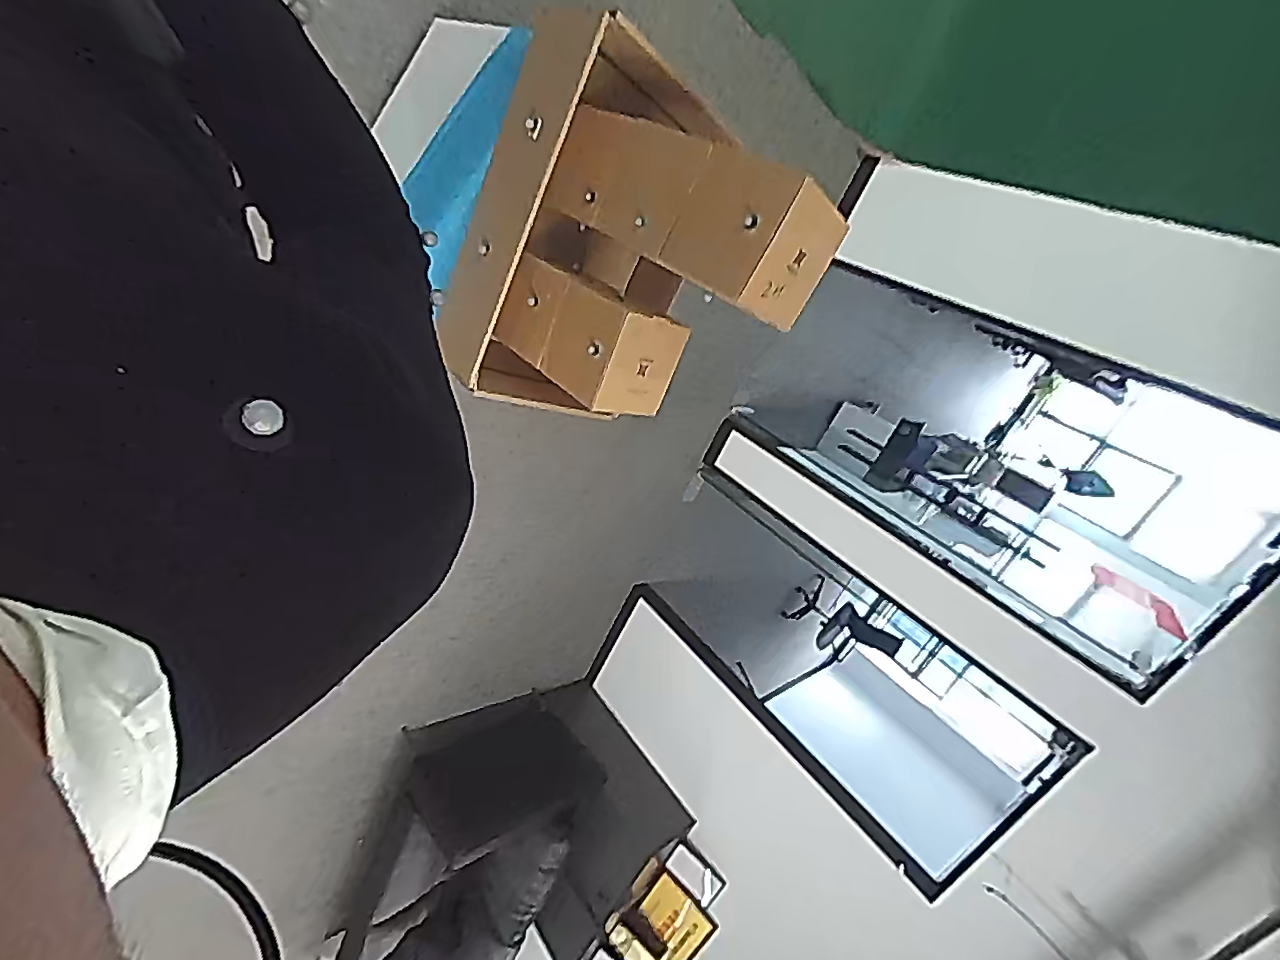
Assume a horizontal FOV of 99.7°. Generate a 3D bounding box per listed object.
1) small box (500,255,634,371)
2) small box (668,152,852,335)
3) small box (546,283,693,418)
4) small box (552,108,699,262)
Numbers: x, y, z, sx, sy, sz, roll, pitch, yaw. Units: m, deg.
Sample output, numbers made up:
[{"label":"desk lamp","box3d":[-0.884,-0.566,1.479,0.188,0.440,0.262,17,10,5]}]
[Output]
[{"label":"small box","box3d":[-0.148,-0.317,1.056,0.168,0.176,0.179,-1,122,-48]},{"label":"small box","box3d":[0.172,-0.347,0.800,0.168,0.176,0.179,5,122,-50]},{"label":"small box","box3d":[-0.043,-0.230,0.965,0.168,0.176,0.179,-2,124,-47]},{"label":"small box","box3d":[-0.033,-0.533,0.979,0.168,0.176,0.179,2,123,-50]}]
